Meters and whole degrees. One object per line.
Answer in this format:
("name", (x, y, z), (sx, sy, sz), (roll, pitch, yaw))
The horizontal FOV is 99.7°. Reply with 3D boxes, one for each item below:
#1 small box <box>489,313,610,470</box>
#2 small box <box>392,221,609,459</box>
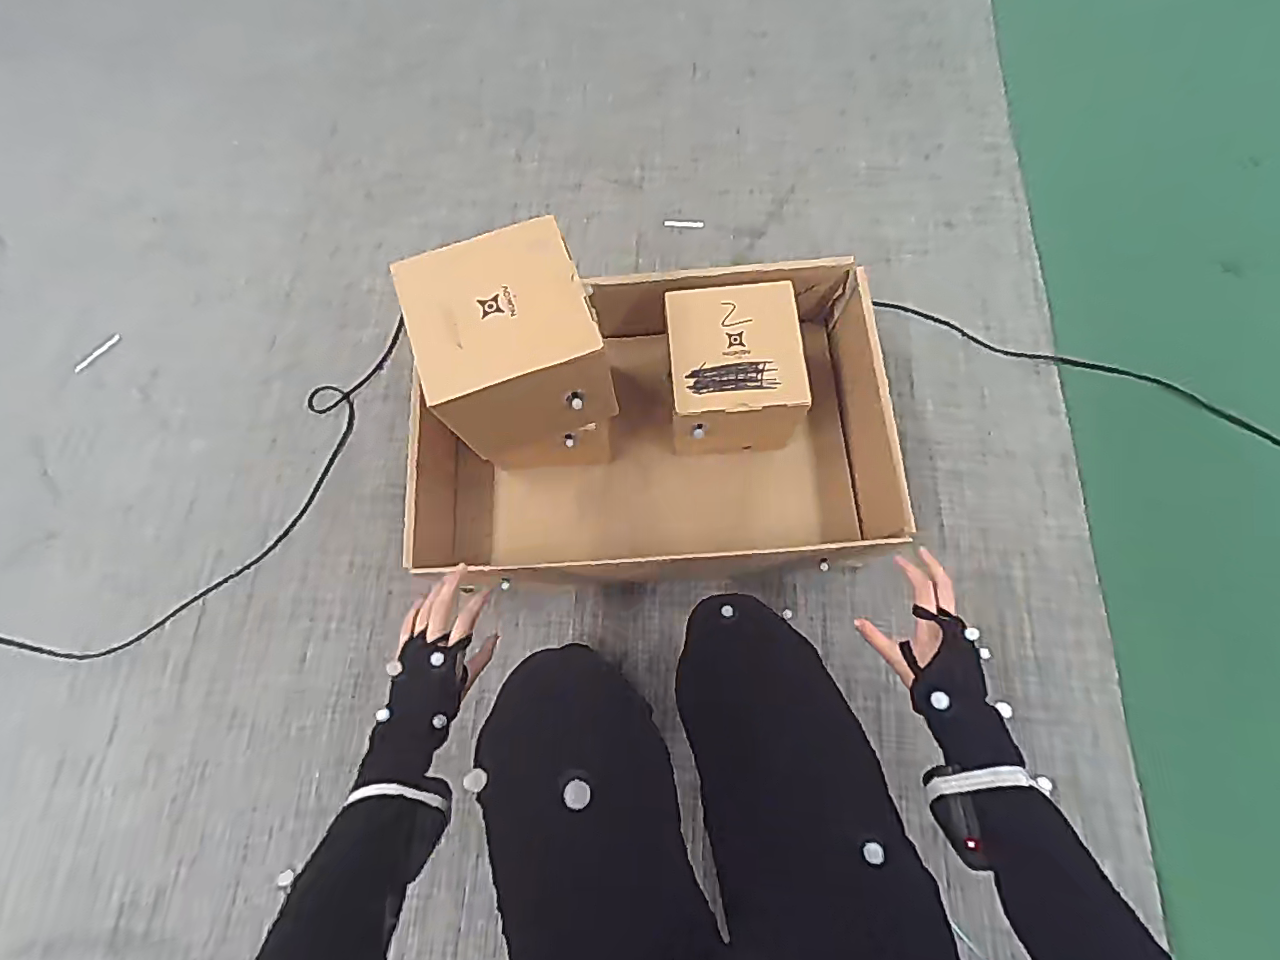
("small box", (-0.139, -0.115, 0.762), (0.179, 0.176, 0.168), (-3, 75, 1))
("small box", (-0.138, -0.142, 0.600), (0.179, 0.176, 0.168), (-19, 75, -2))
